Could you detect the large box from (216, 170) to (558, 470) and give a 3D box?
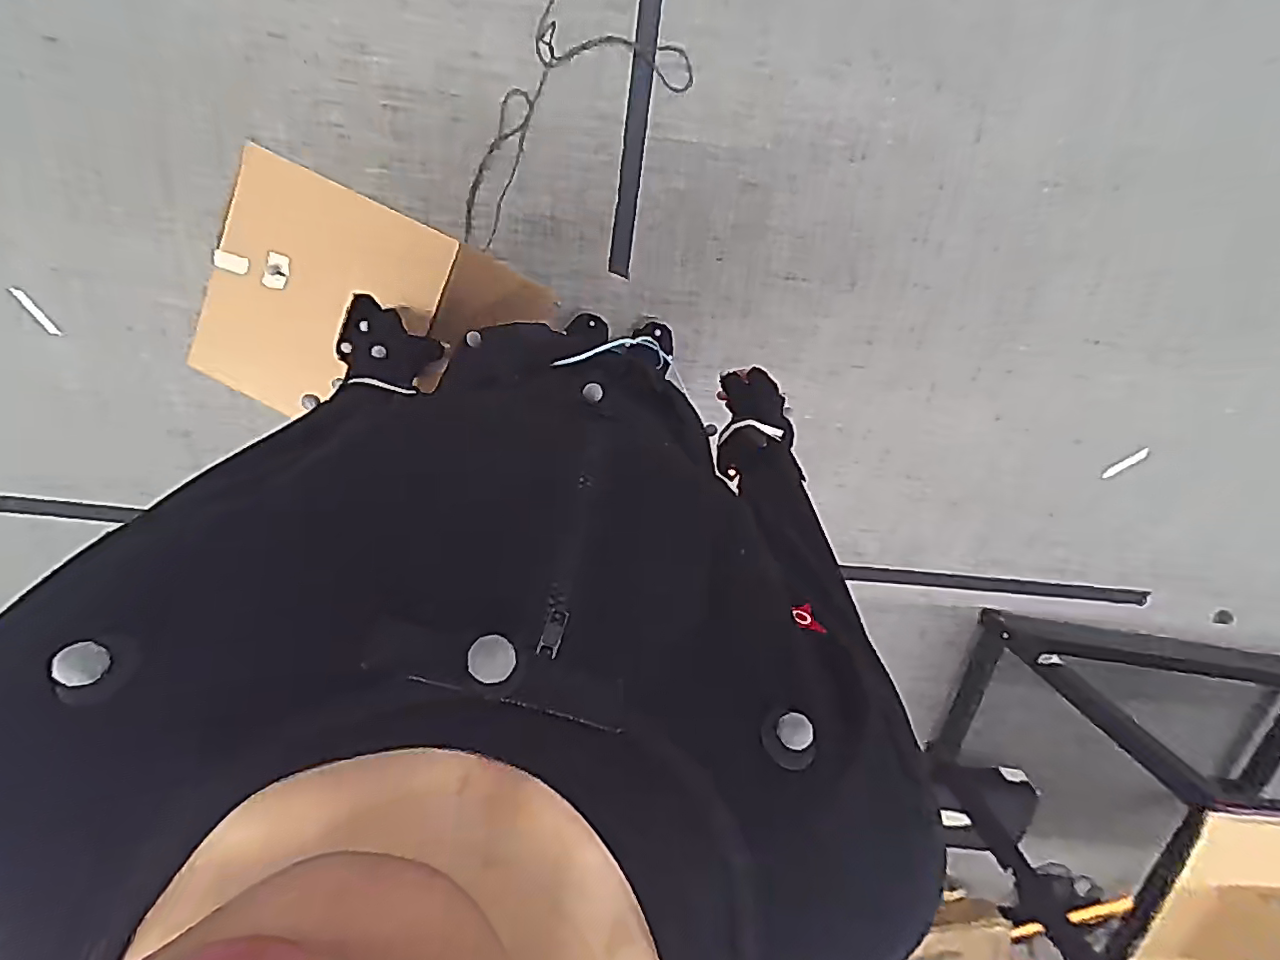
[{"bbox_3d":[-0.385,-0.247,0.913,0.320,0.408,0.320,27,102,3],"label":"large box"}]
